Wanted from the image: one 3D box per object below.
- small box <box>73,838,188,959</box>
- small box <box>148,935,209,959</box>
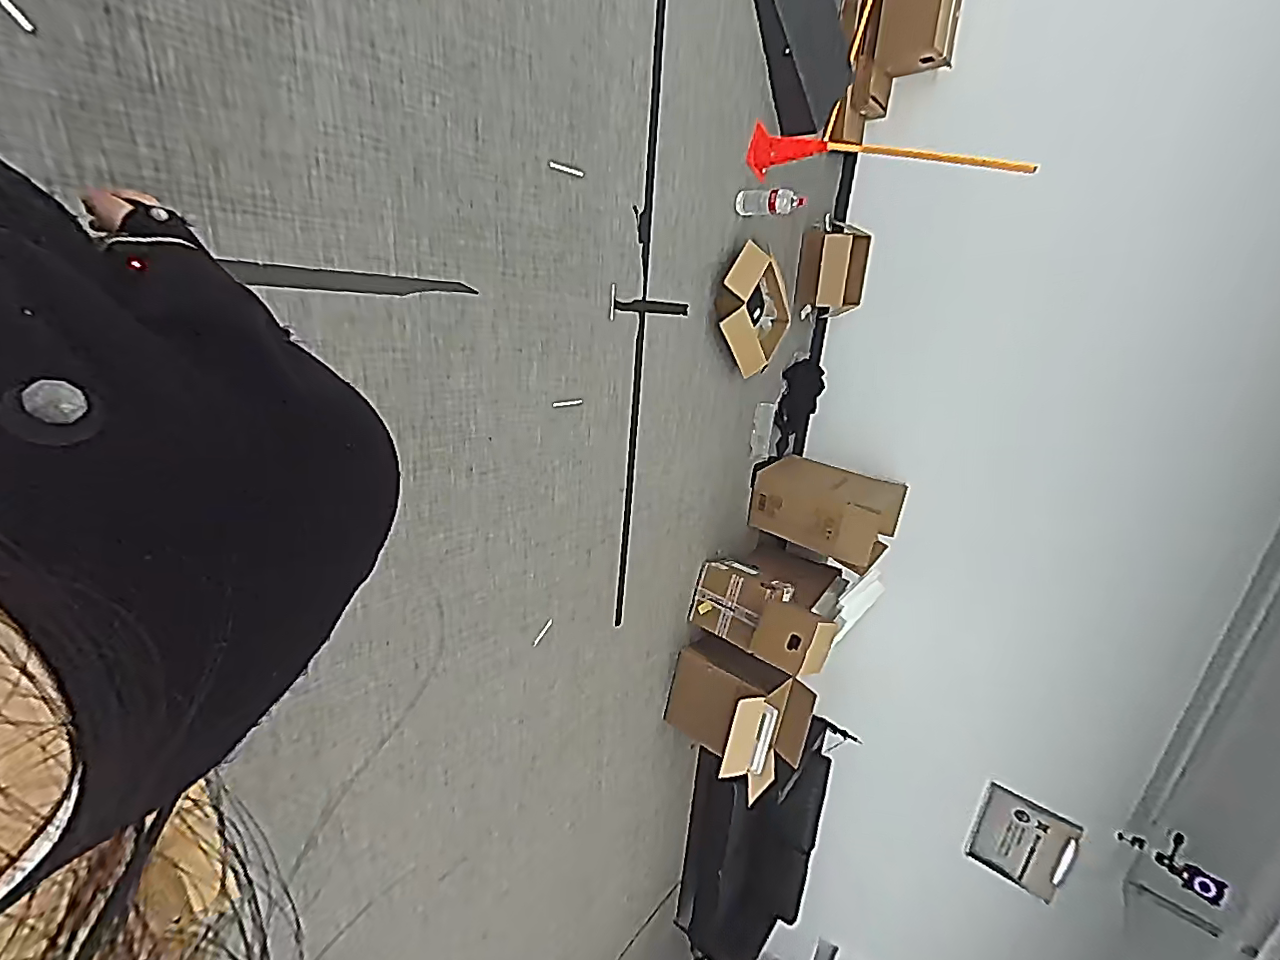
[{"bbox_3d":[-1.224,1.011,1.300,0.168,0.176,0.179,-14,117,-48],"label":"small box"},{"bbox_3d":[-0.973,1.103,1.108,0.168,0.176,0.179,-18,118,-48],"label":"small box"}]
